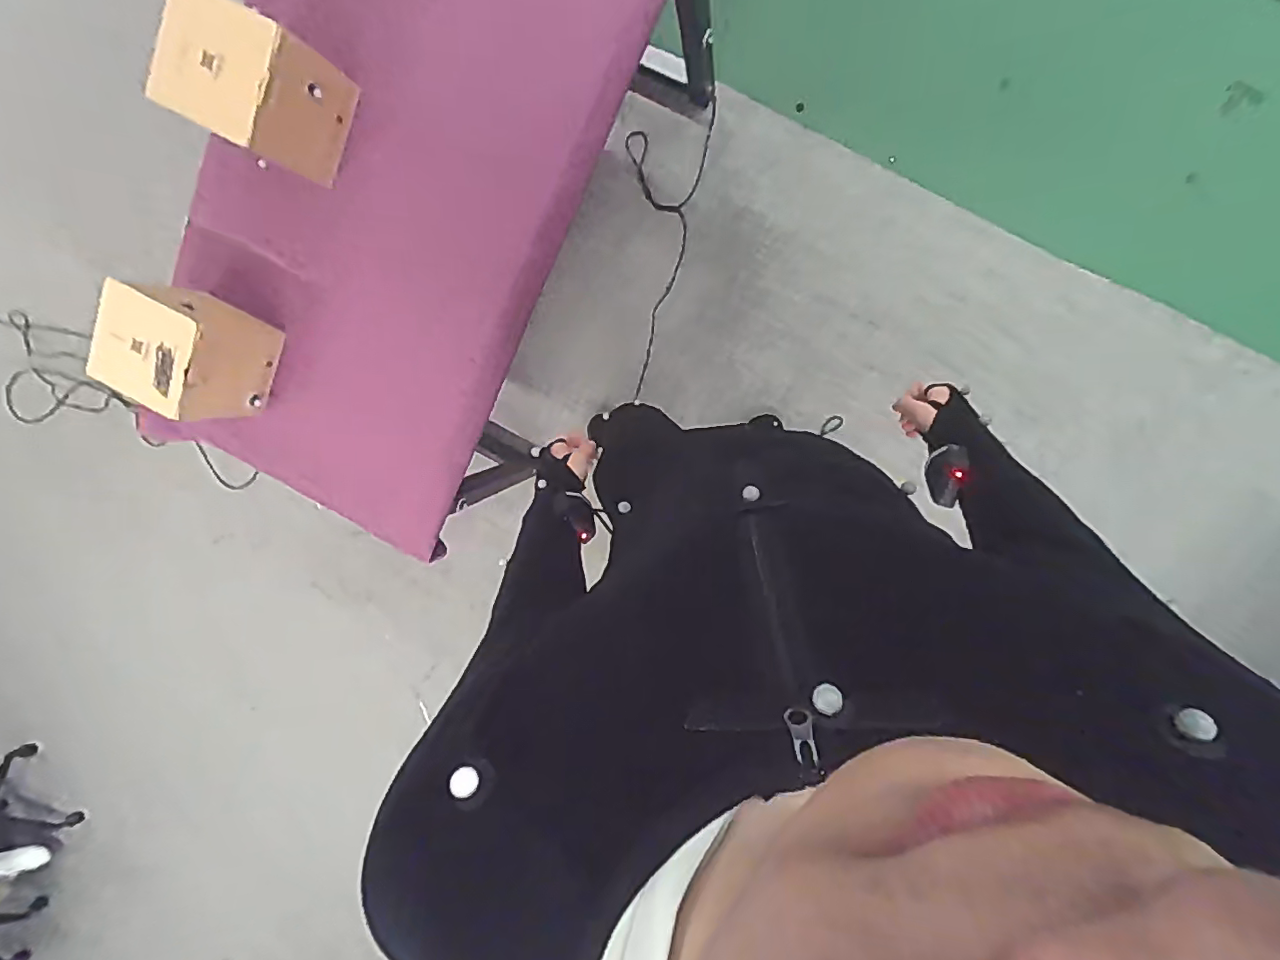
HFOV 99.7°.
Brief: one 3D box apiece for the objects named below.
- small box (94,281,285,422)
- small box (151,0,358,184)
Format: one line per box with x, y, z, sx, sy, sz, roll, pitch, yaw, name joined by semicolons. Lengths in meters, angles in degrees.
-0.755;-0.214;0.922;0.179;0.176;0.168;27;103;5;small box
-0.574;-0.585;0.825;0.179;0.176;0.168;28;103;5;small box
